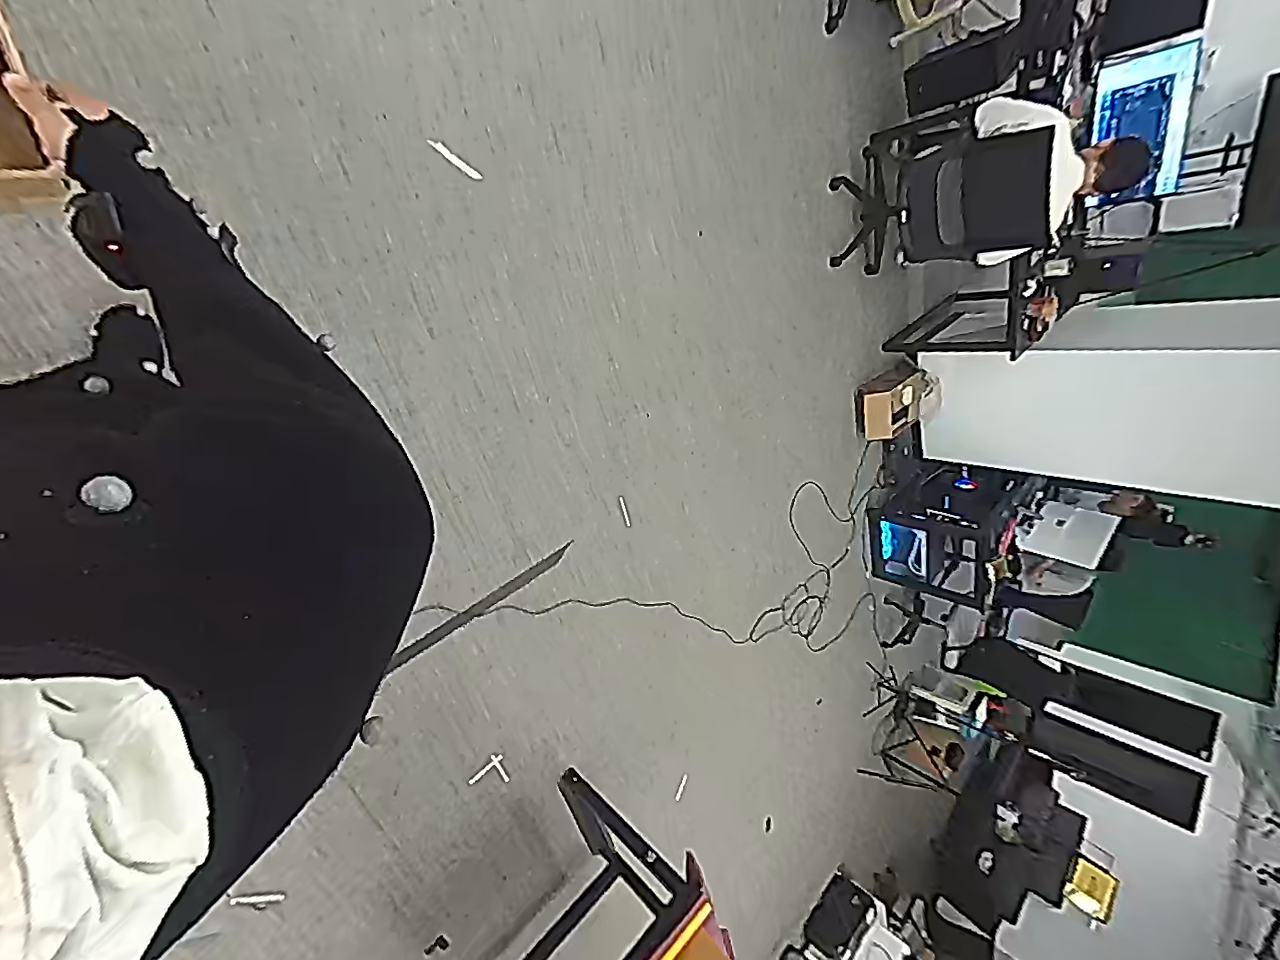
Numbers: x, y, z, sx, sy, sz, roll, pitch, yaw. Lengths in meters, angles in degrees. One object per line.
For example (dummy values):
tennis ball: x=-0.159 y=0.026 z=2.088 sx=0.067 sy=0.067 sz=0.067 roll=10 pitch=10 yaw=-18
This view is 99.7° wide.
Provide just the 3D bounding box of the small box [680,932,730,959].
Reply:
small box: x=0.208 y=1.549 z=1.643 sx=0.179 sy=0.176 sz=0.168 roll=-34 pitch=120 yaw=-30
